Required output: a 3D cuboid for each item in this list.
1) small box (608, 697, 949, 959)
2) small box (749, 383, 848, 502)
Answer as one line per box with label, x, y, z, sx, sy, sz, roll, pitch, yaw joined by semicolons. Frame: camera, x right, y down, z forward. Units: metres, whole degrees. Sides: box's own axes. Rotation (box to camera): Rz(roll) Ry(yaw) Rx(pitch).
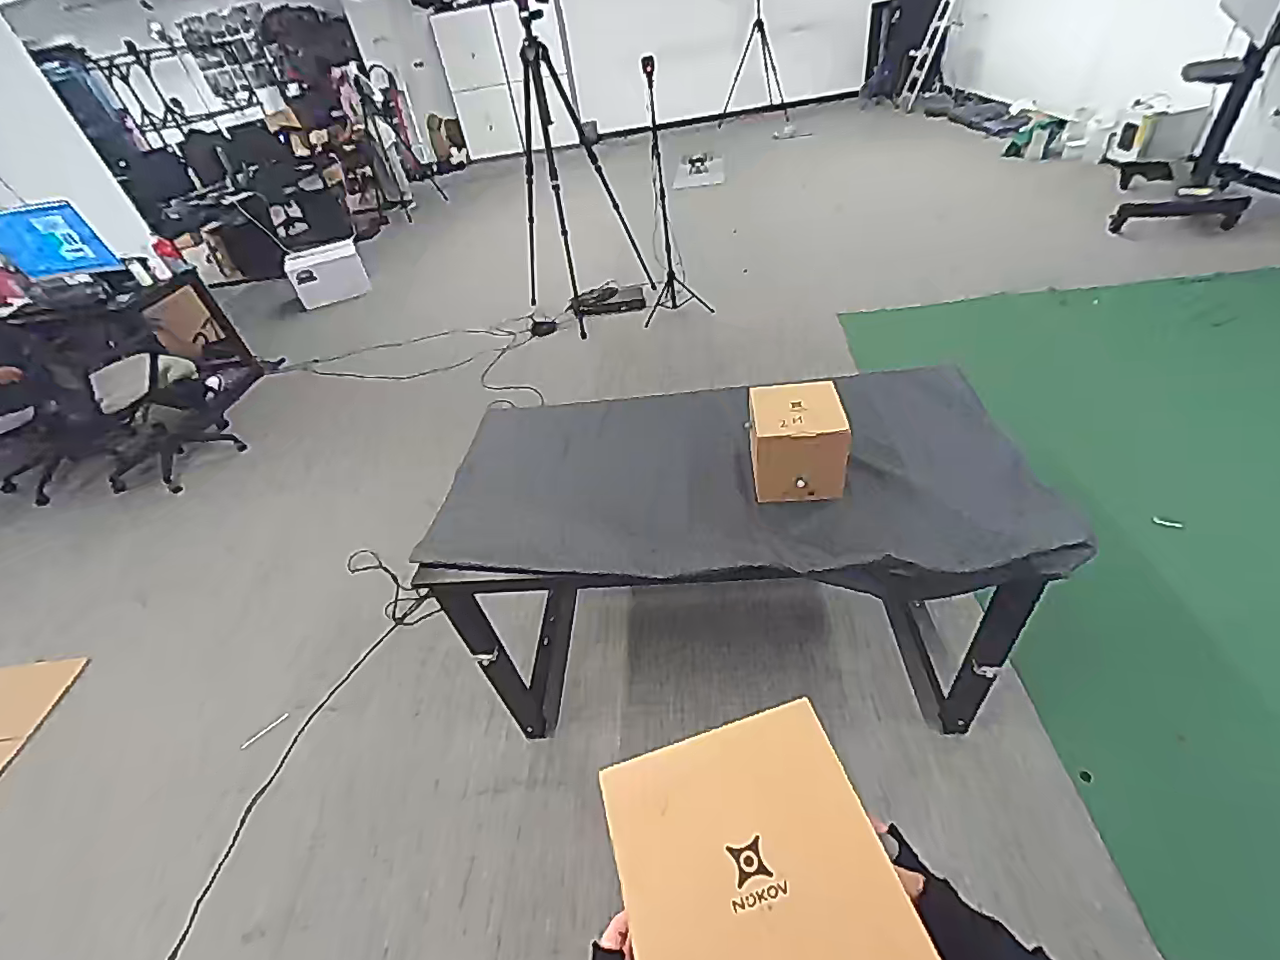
small box;0.085;0.296;0.395;0.168;0.176;0.179;-17;46;-5
small box;0.309;-0.075;1.089;0.168;0.176;0.179;-3;41;8
